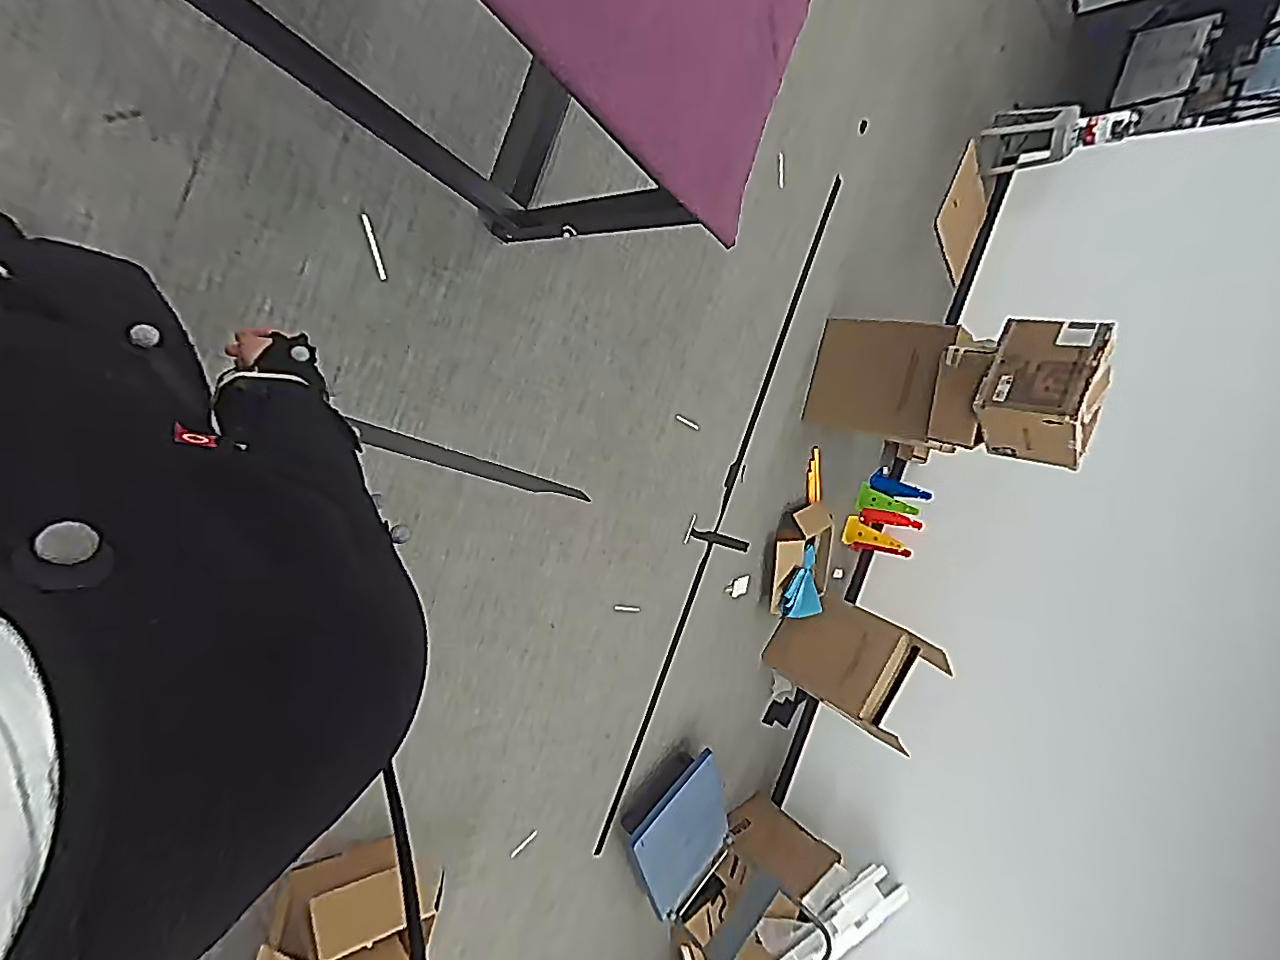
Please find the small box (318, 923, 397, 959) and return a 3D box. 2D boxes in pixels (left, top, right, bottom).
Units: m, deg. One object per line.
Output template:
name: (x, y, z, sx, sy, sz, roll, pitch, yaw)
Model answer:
small box: (-0.757, 1.344, 1.430, 0.168, 0.176, 0.179, 17, 92, -49)
